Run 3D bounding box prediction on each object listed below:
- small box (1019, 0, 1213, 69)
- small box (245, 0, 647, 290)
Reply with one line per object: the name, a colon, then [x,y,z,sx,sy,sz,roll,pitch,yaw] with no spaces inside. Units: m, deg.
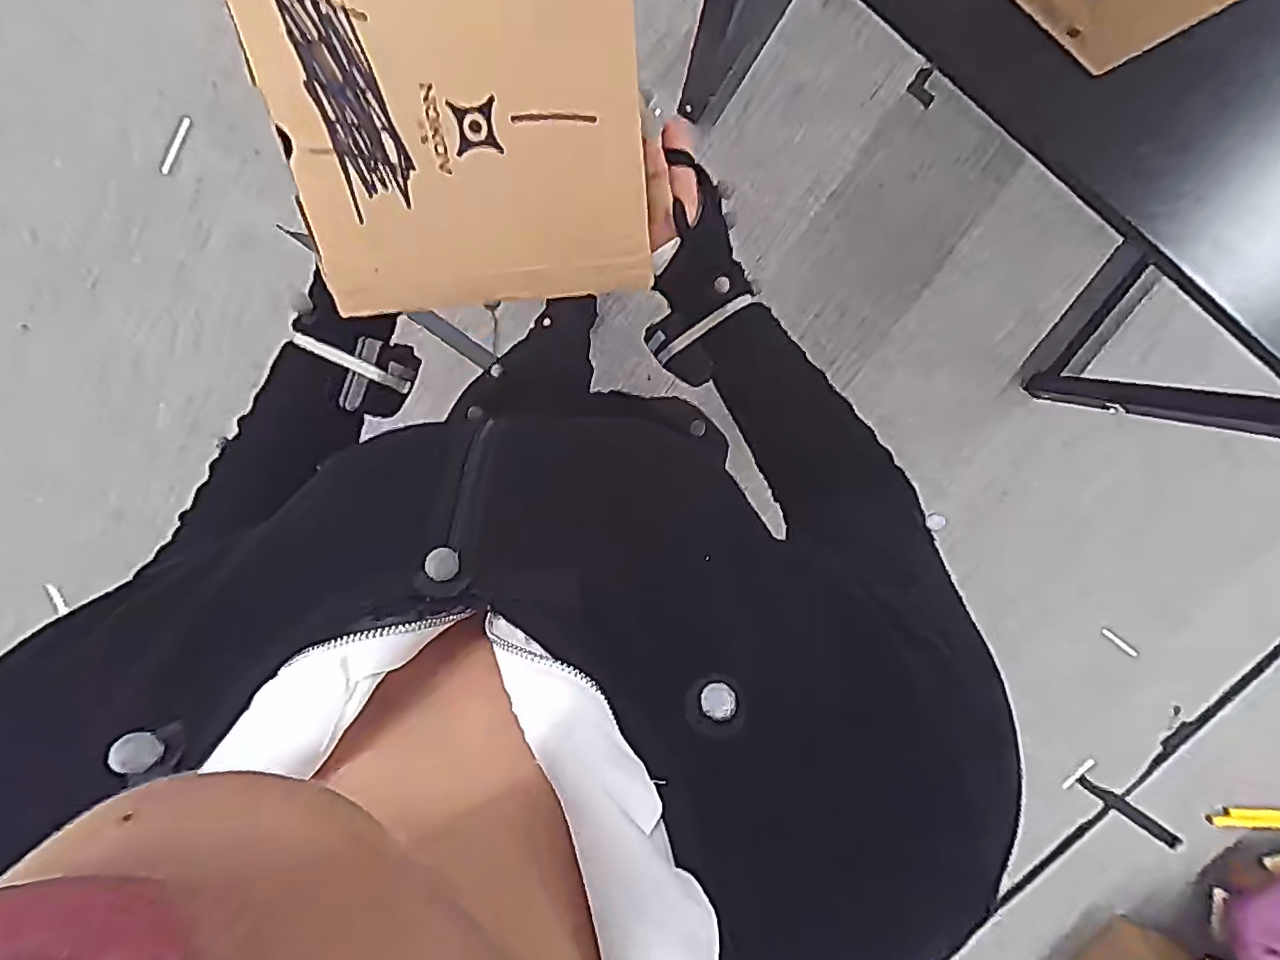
small box: [0.500,-0.554,0.517,0.168,0.176,0.179,33,102,-11]
small box: [-0.089,-0.223,0.329,0.179,0.176,0.168,-5,123,0]
